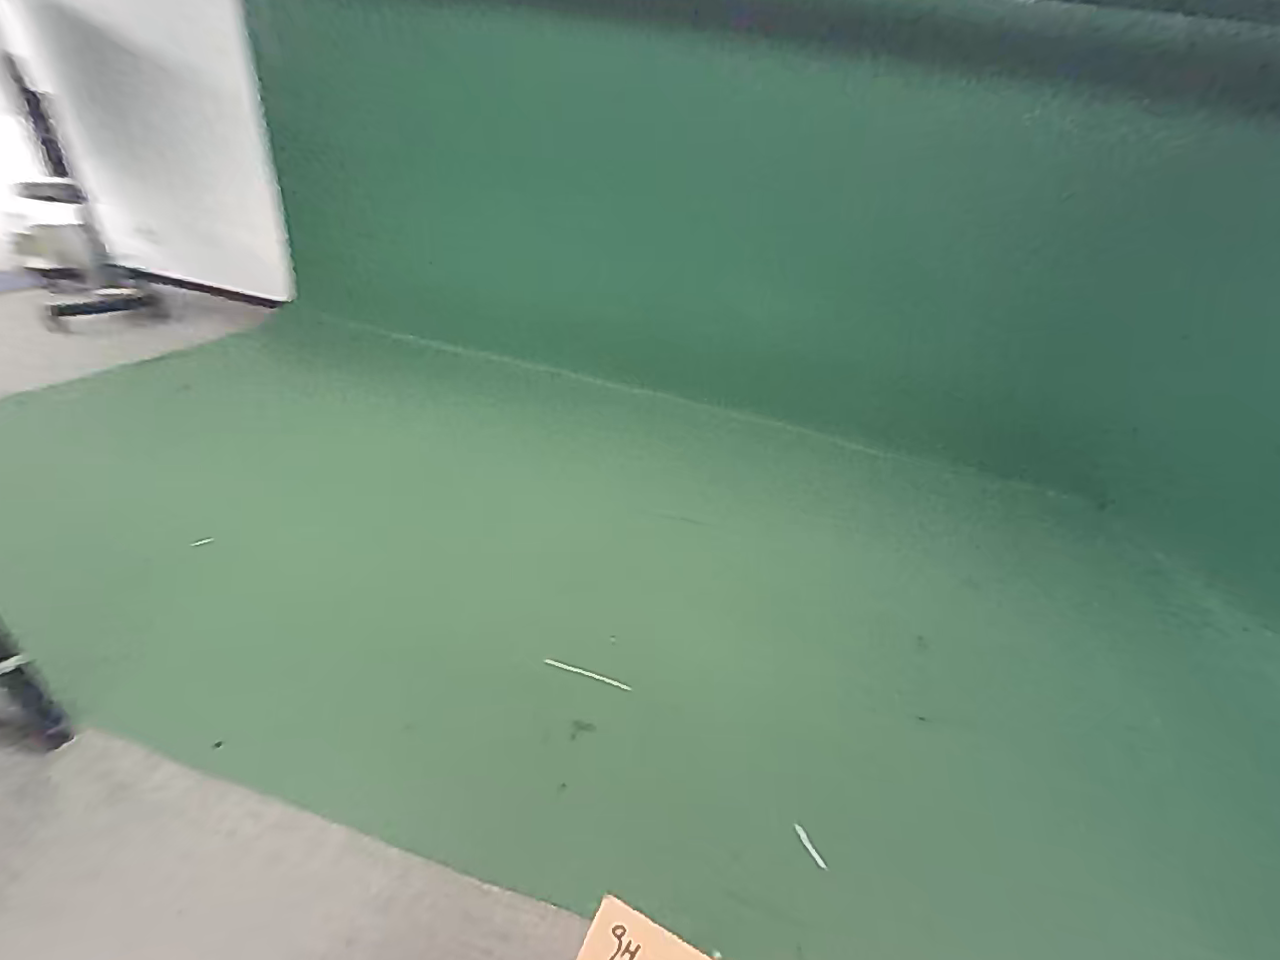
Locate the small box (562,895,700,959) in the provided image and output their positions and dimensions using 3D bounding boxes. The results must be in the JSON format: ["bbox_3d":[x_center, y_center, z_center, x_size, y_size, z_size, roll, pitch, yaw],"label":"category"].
[{"bbox_3d":[-0.011,0.477,0.411,0.168,0.176,0.179,21,39,14],"label":"small box"}]
